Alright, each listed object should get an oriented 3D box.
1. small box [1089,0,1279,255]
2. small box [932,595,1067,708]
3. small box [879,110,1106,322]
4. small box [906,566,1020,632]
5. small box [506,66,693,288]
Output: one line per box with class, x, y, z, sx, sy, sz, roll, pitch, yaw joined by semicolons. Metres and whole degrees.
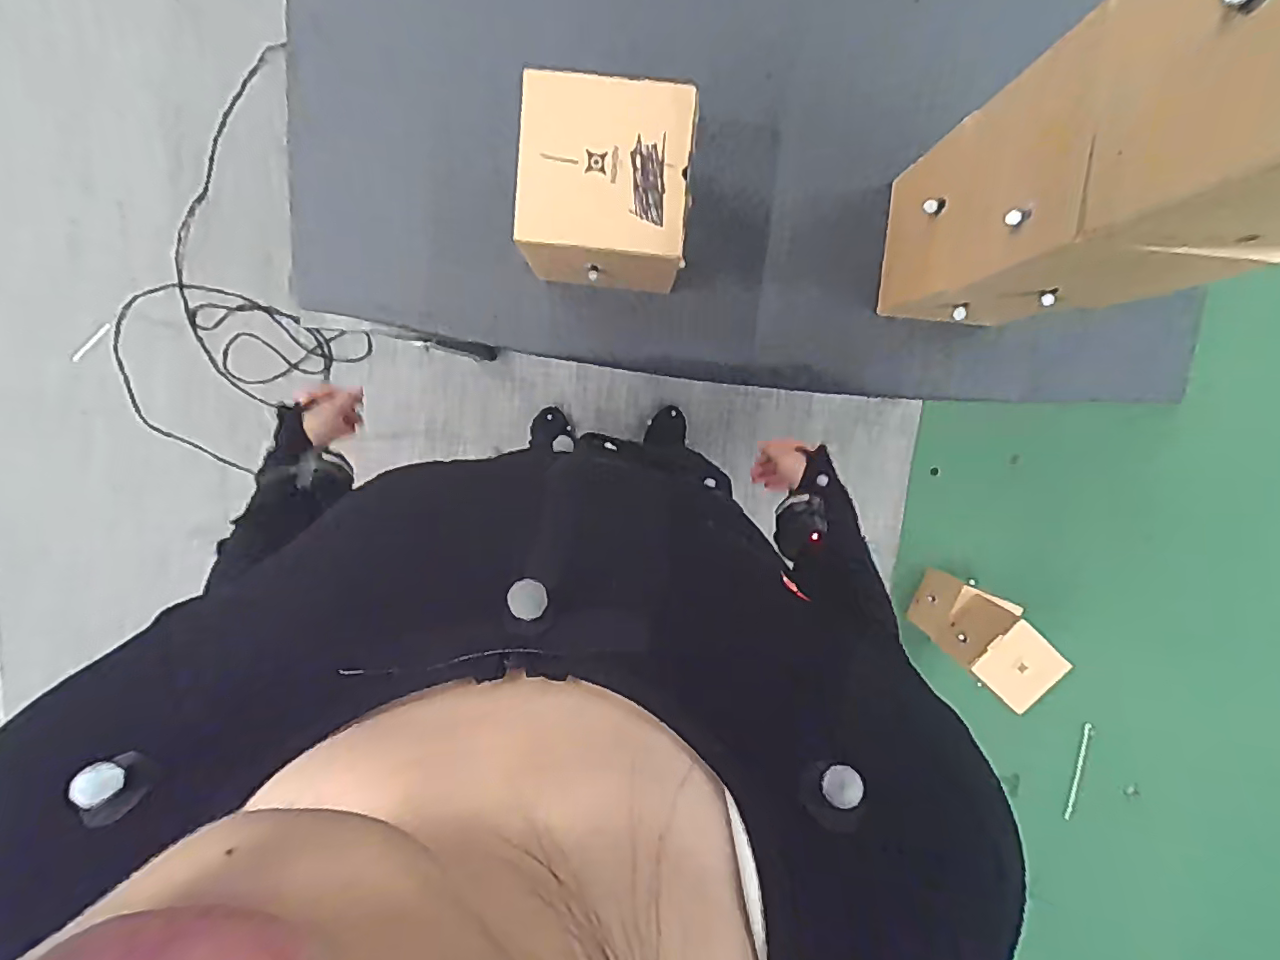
small box;0.404;-0.246;0.305;0.168;0.176;0.179;1;97;-1
small box;0.859;0.404;1.313;0.179;0.176;0.168;42;97;-7
small box;0.401;-0.288;0.631;0.168;0.176;0.179;5;97;-2
small box;0.865;0.349;1.470;0.179;0.176;0.168;21;98;-4
small box;-0.042;-0.325;0.617;0.179;0.176;0.168;5;97;-1
